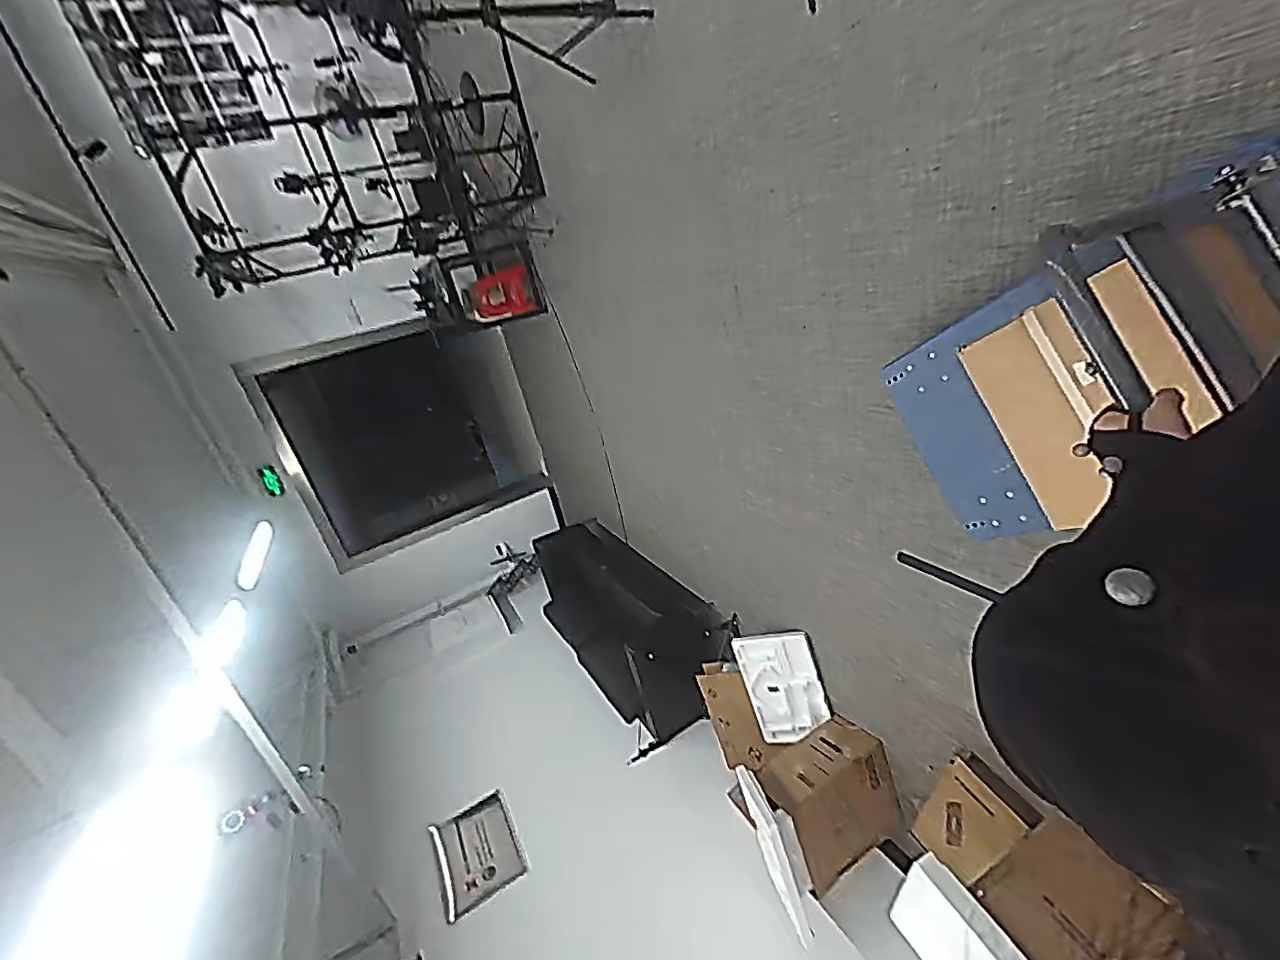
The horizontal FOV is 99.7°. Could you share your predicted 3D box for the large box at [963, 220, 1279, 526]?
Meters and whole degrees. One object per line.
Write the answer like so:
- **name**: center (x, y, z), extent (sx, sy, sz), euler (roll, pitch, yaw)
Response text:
- **large box**: center (0.905, -0.177, 0.977), extent (0.408, 0.320, 0.320), euler (65, 158, 6)
